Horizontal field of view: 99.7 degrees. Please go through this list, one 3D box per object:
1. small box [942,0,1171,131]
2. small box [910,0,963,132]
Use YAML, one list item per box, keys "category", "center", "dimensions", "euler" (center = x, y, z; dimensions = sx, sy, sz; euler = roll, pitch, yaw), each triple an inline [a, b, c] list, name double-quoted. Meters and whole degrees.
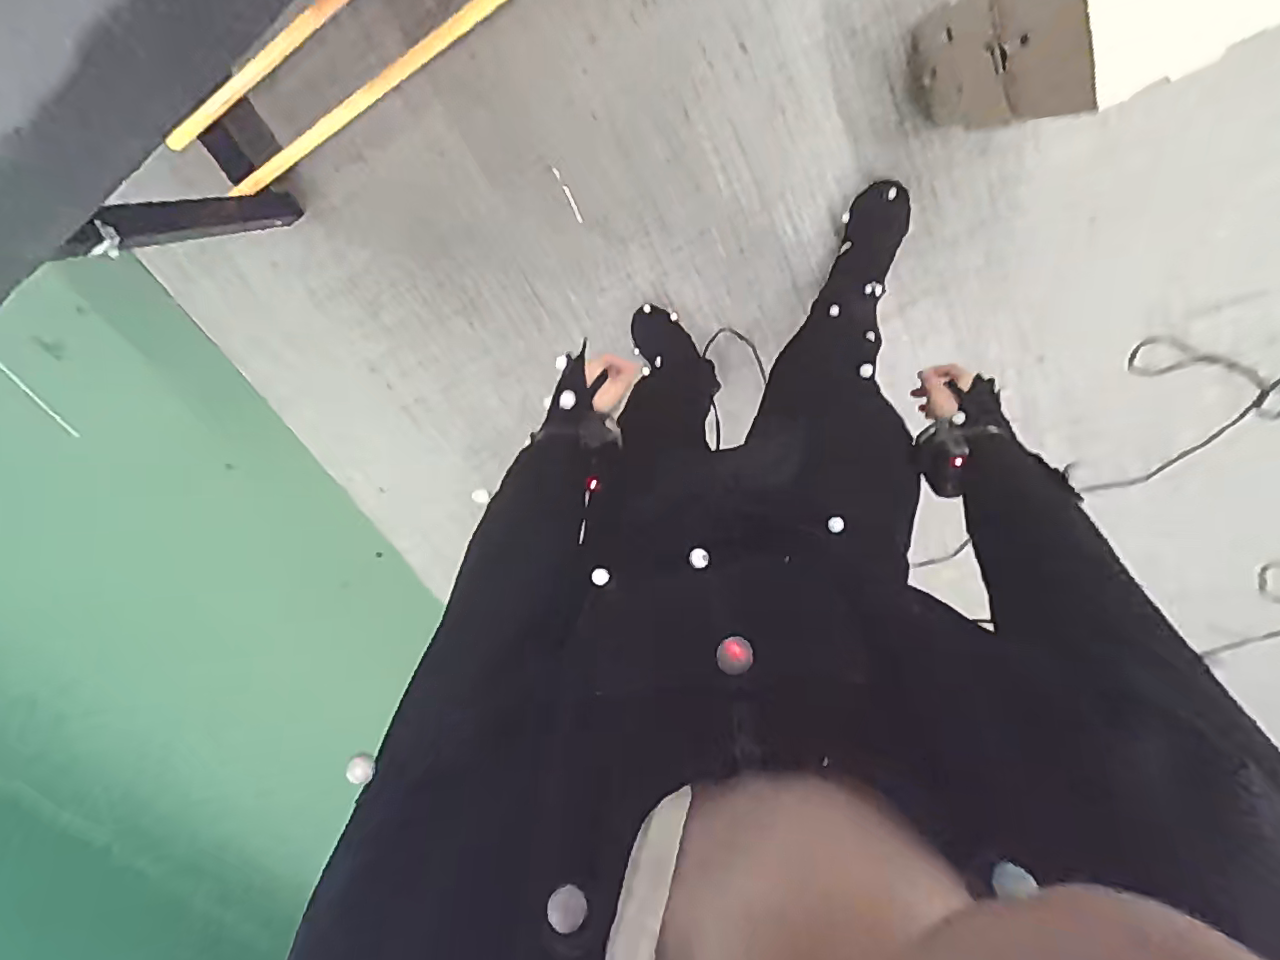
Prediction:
- category: "small box"
  center: [0.516, -0.580, 0.696]
  dimensions: [0.179, 0.176, 0.168]
  euler: [-23, 114, 19]
- category: "small box"
  center: [0.546, -0.668, 0.831]
  dimensions: [0.179, 0.176, 0.168]
  euler: [-21, 114, 18]
